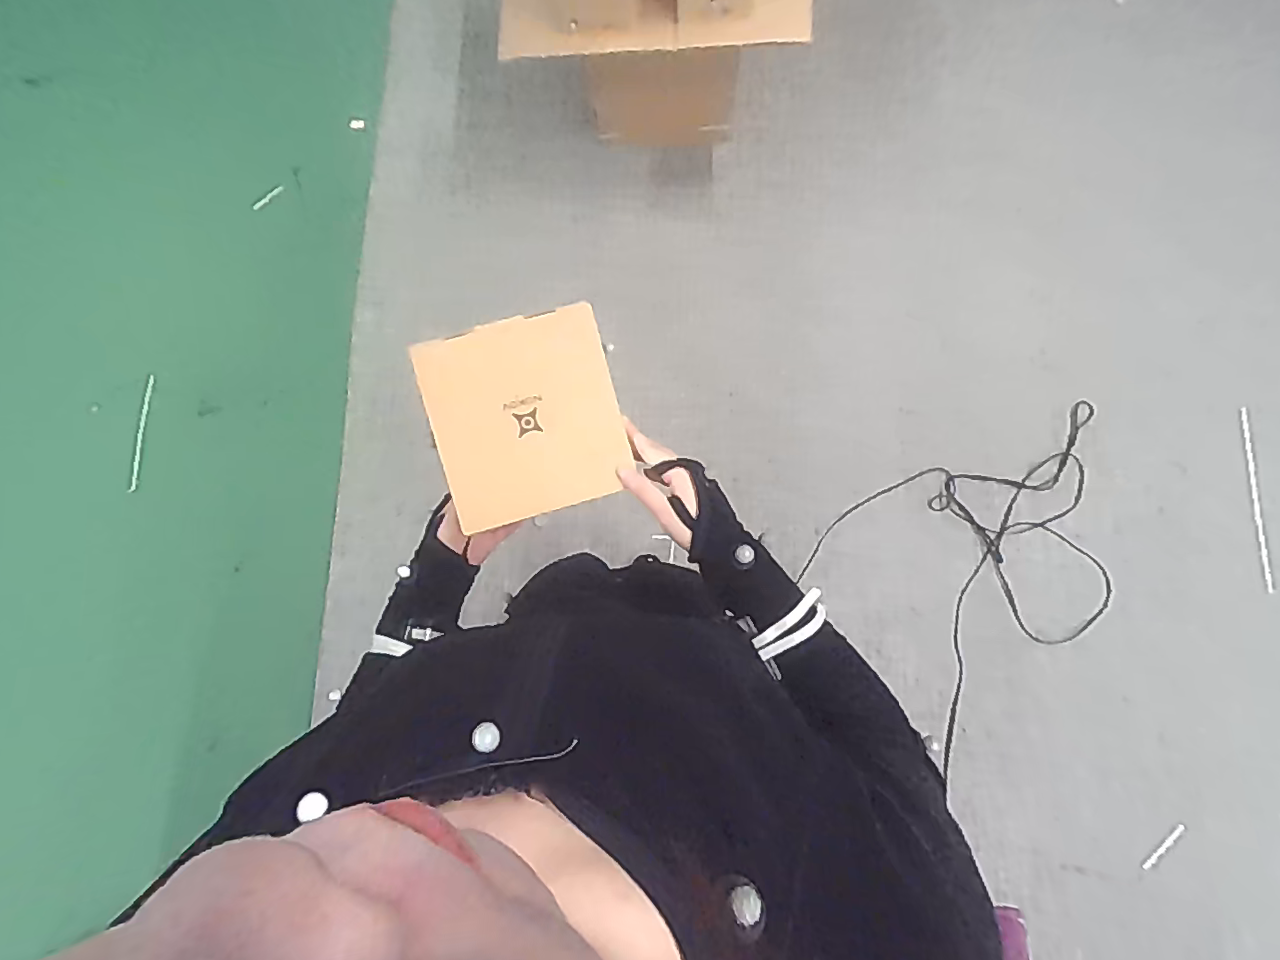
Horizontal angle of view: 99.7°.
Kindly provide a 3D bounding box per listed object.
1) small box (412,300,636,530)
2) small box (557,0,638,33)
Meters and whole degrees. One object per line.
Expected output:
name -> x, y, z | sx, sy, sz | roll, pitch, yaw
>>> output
small box -> -0.106, -0.059, 0.559 | 0.168, 0.176, 0.179 | -15, 91, -5
small box -> -0.091, -1.089, 1.141 | 0.168, 0.176, 0.179 | 2, 82, 5
